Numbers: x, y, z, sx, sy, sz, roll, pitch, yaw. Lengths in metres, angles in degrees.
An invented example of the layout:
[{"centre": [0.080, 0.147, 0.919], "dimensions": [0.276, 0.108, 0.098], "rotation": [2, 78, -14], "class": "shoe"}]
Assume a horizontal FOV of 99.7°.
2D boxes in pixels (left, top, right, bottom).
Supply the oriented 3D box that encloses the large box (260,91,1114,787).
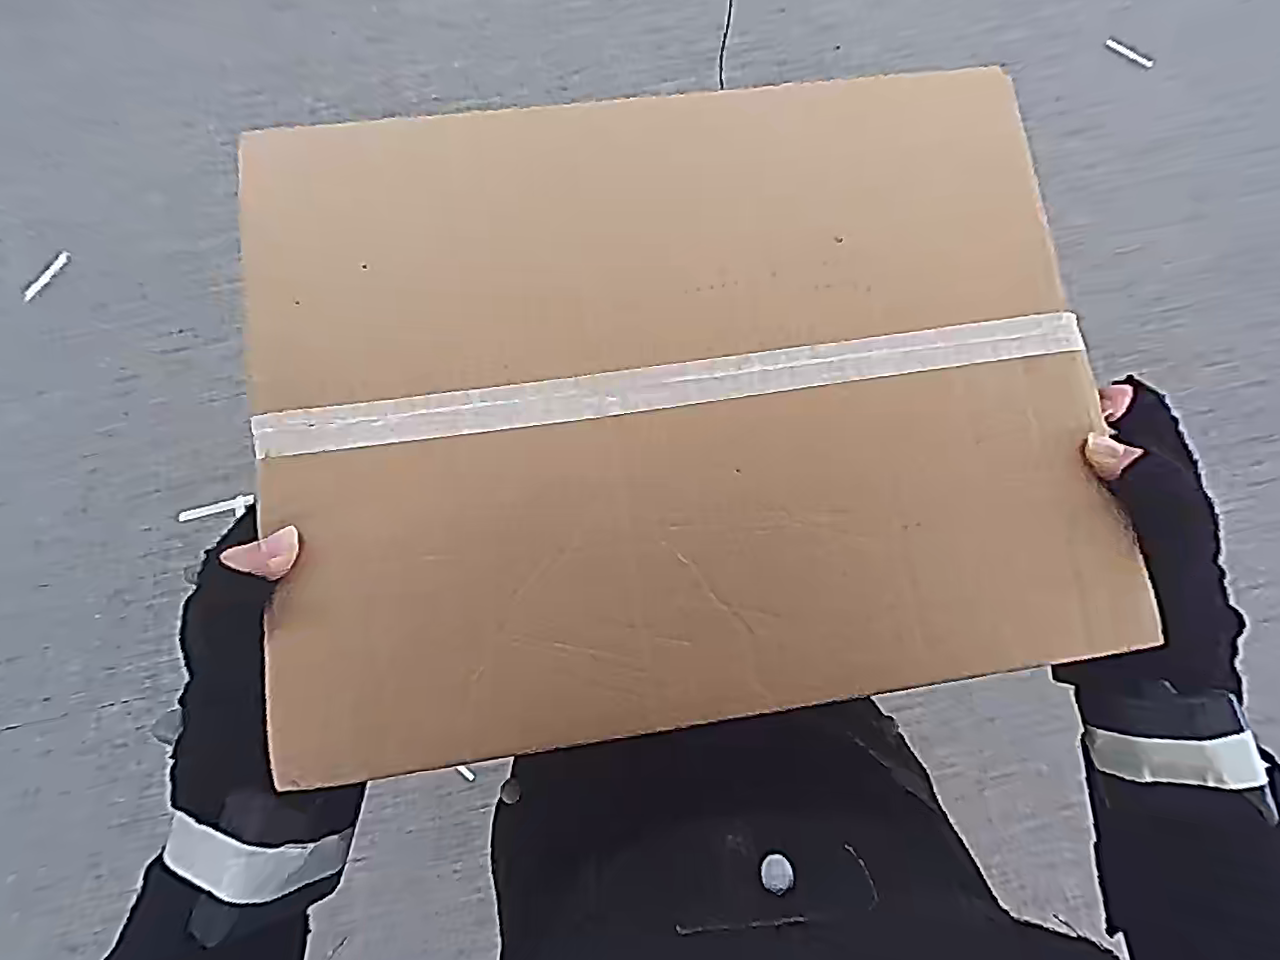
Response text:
[{"centre": [0.016, -0.022, 0.422], "dimensions": [0.408, 0.320, 0.320], "rotation": [-8, 82, -4], "class": "large box"}]
